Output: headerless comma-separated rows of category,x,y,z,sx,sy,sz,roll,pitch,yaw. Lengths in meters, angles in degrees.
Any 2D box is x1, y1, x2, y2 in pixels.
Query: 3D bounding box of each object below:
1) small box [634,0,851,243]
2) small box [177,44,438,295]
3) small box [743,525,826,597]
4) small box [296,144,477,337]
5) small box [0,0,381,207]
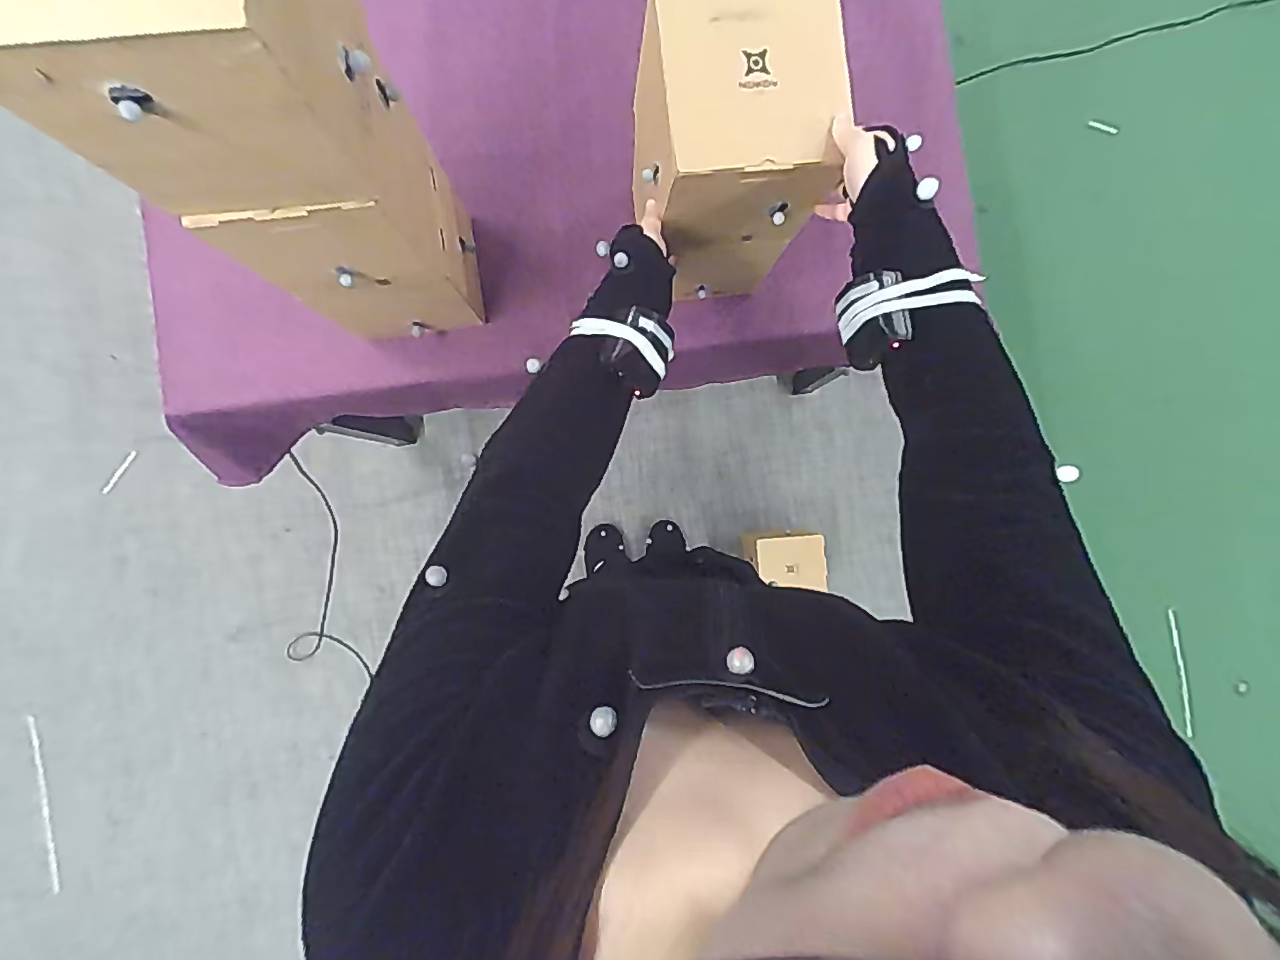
small box,0.089,-0.356,0.546,0.168,0.176,0.179,-7,91,-6
small box,-0.318,-0.306,0.538,0.168,0.176,0.179,-8,89,-1
small box,0.377,0.210,1.444,0.179,0.176,0.168,-5,89,-3
small box,-0.322,-0.297,0.704,0.179,0.176,0.168,-9,88,-3
small box,-0.308,-0.312,0.374,0.179,0.176,0.168,-6,89,-3
